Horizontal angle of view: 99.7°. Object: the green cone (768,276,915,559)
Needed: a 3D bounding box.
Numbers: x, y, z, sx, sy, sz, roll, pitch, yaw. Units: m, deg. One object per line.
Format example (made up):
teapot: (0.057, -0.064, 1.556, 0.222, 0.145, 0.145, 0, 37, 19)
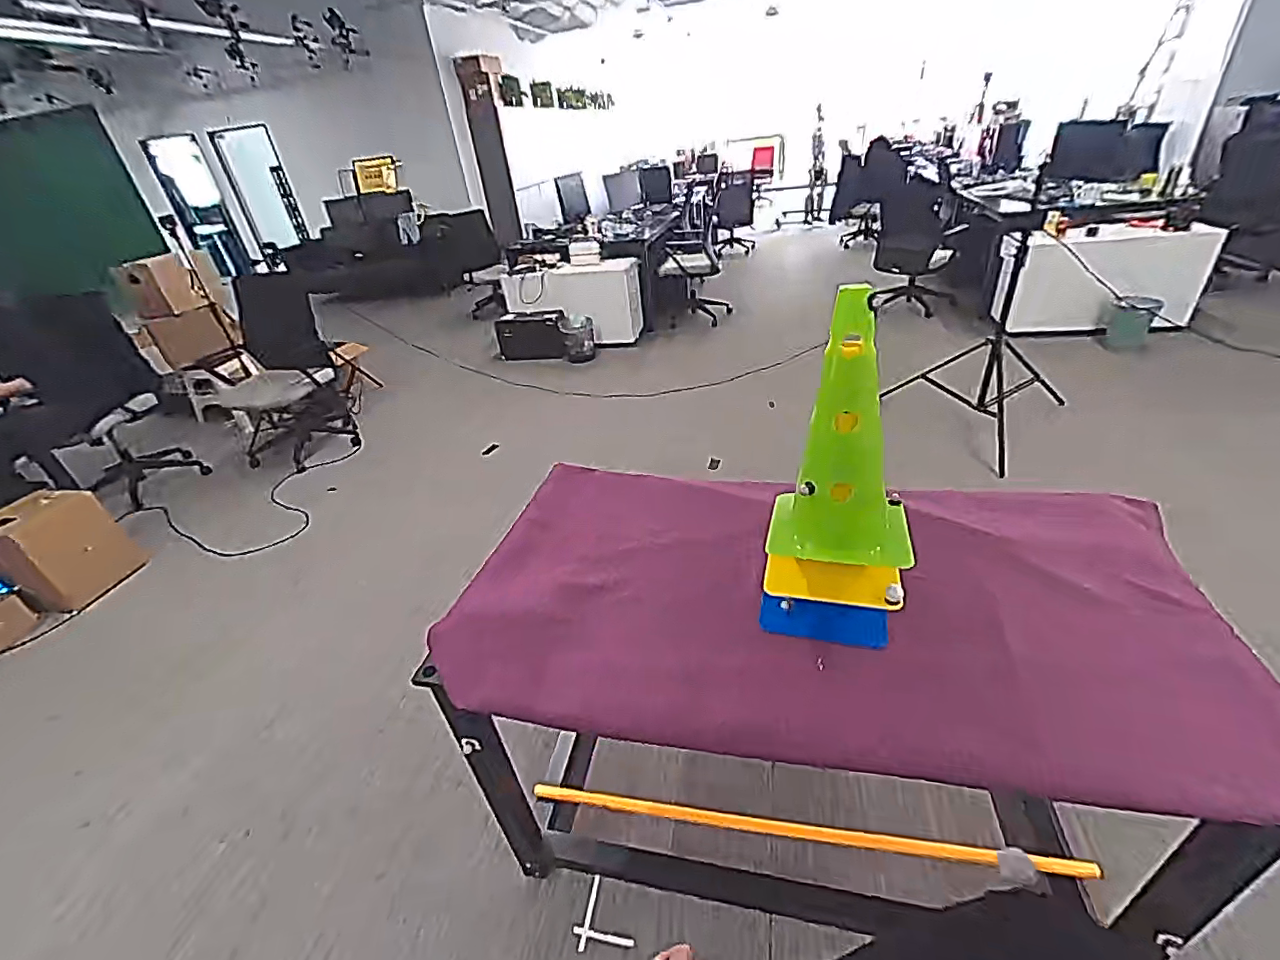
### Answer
green cone: (0.288, -0.094, 0.762, 0.200, 0.368, 0.202, 2, 27, 18)
